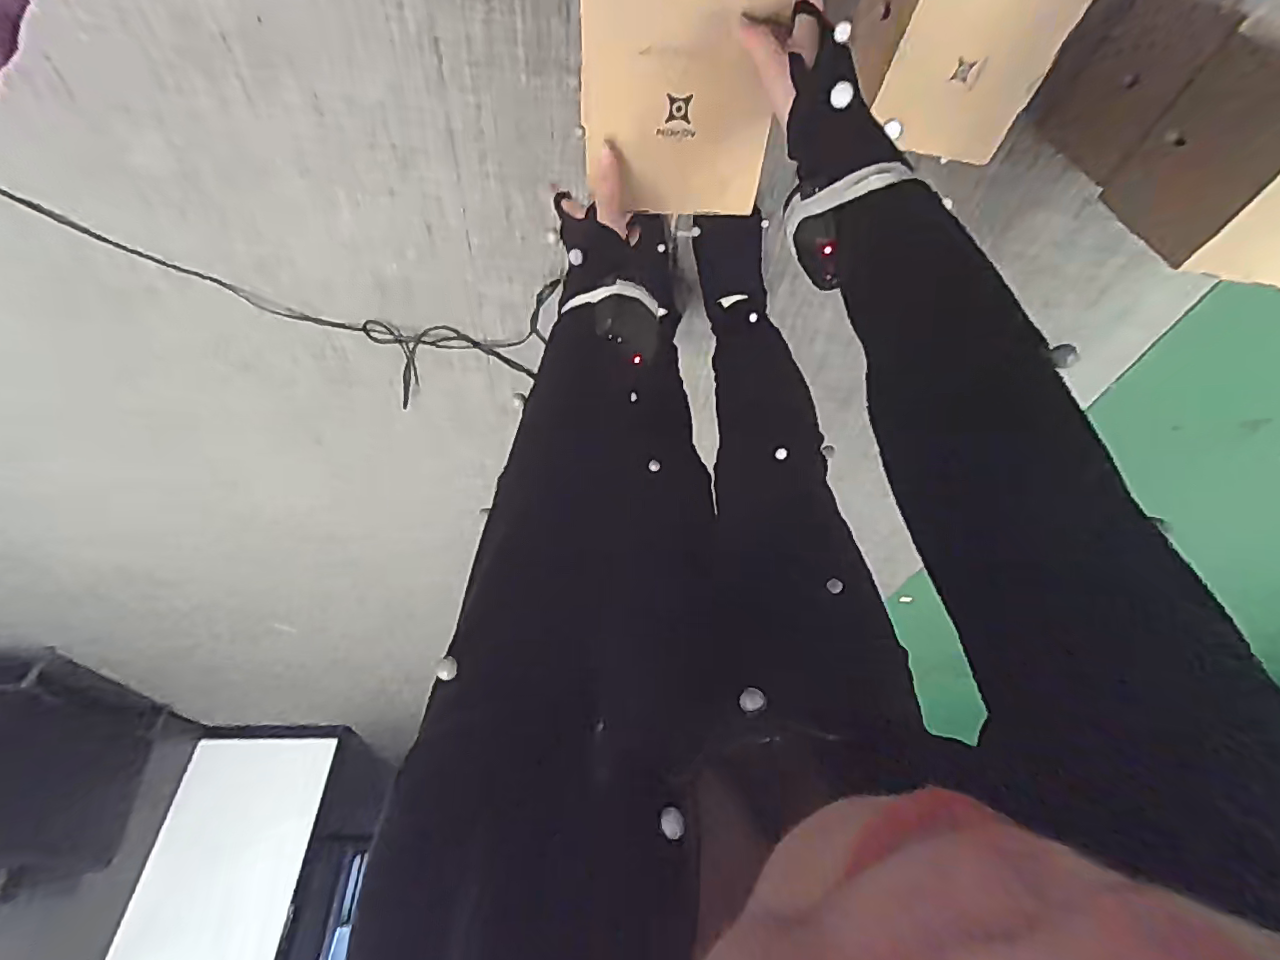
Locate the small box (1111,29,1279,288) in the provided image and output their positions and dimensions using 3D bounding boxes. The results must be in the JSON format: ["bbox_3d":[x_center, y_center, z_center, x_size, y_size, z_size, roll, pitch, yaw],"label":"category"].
[{"bbox_3d":[0.672,-0.343,0.587,0.168,0.176,0.179,5,143,-9],"label":"small box"}]

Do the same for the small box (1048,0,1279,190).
[{"bbox_3d":[0.666,-0.478,0.682,0.168,0.176,0.179,7,141,-12],"label":"small box"}]
